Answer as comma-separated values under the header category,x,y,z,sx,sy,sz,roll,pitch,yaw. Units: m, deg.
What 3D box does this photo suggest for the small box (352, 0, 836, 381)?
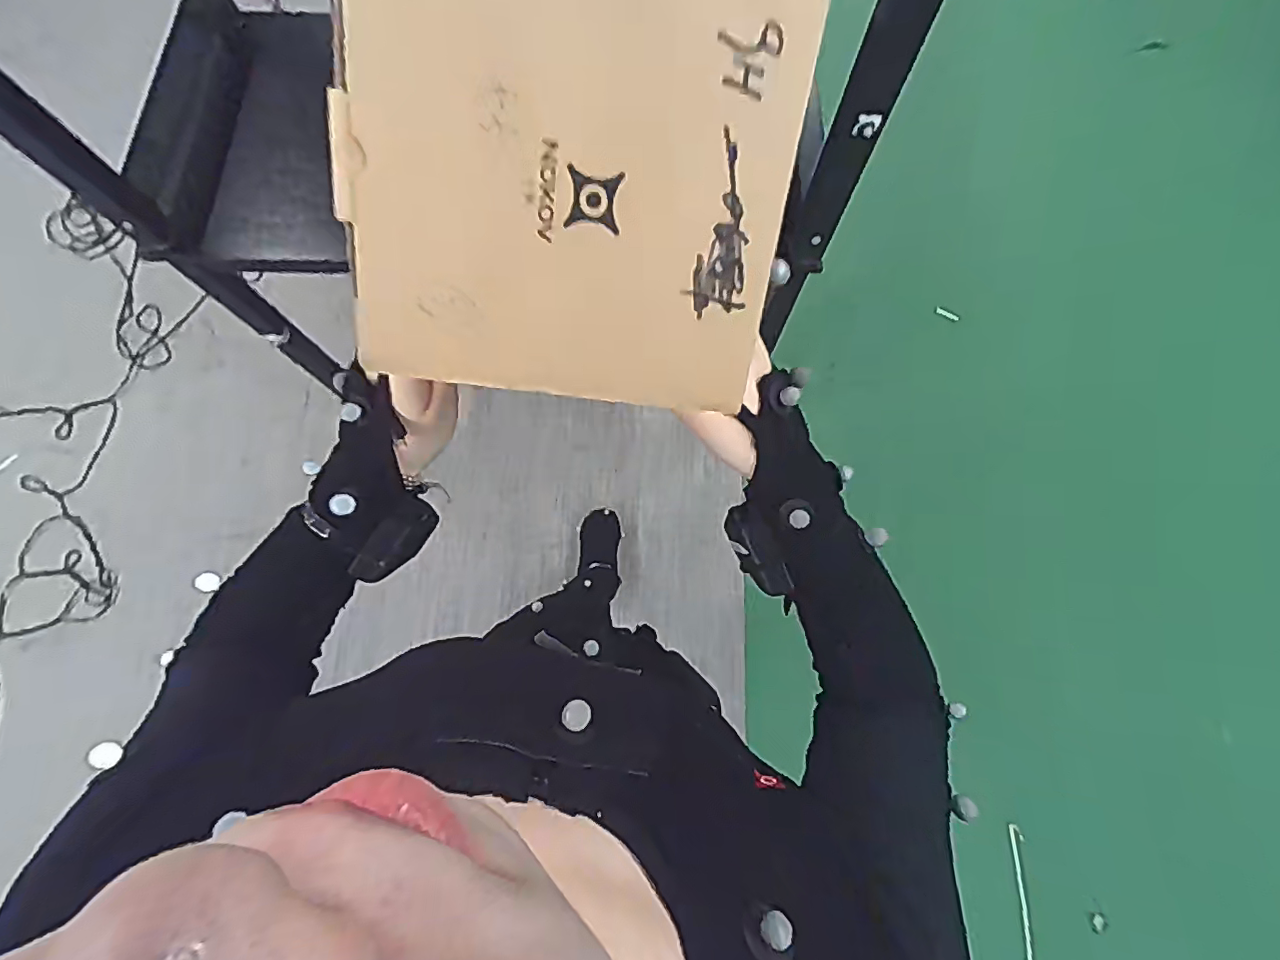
category,x,y,z,sx,sy,sz,roll,pitch,yaw
small box,-0.026,-0.162,0.289,0.179,0.176,0.168,7,113,-6
